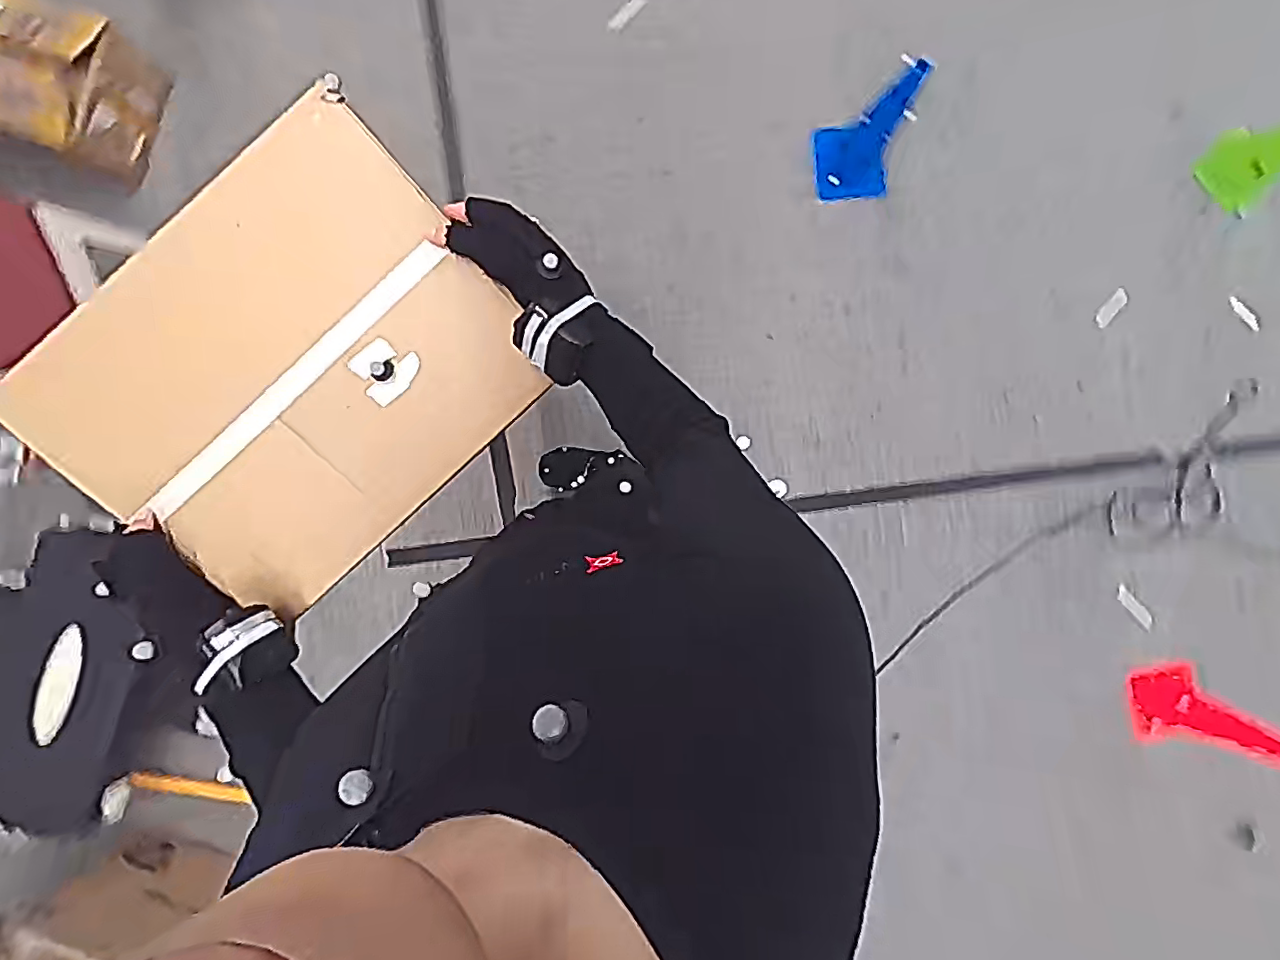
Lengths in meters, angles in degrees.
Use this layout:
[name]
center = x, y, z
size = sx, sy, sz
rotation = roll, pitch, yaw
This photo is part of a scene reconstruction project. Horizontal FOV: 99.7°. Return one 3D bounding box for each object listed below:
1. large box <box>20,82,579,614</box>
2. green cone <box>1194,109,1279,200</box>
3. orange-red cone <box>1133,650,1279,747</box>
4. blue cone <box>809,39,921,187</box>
[large box]
center = -0.323, -0.129, 0.647
size = 0.408, 0.320, 0.320
rotation = -41, 104, 1
[green cone]
center = 1.707, -0.925, 1.364
size = 0.202, 0.368, 0.200
rotation = 44, 88, -1
[orange-red cone]
center = 1.531, 0.603, 1.385
size = 0.199, 0.360, 0.198
rotation = -11, 92, -4
[blue cone]
center = 0.576, -0.909, 1.332
size = 0.193, 0.380, 0.192
rotation = -5, 90, -3
